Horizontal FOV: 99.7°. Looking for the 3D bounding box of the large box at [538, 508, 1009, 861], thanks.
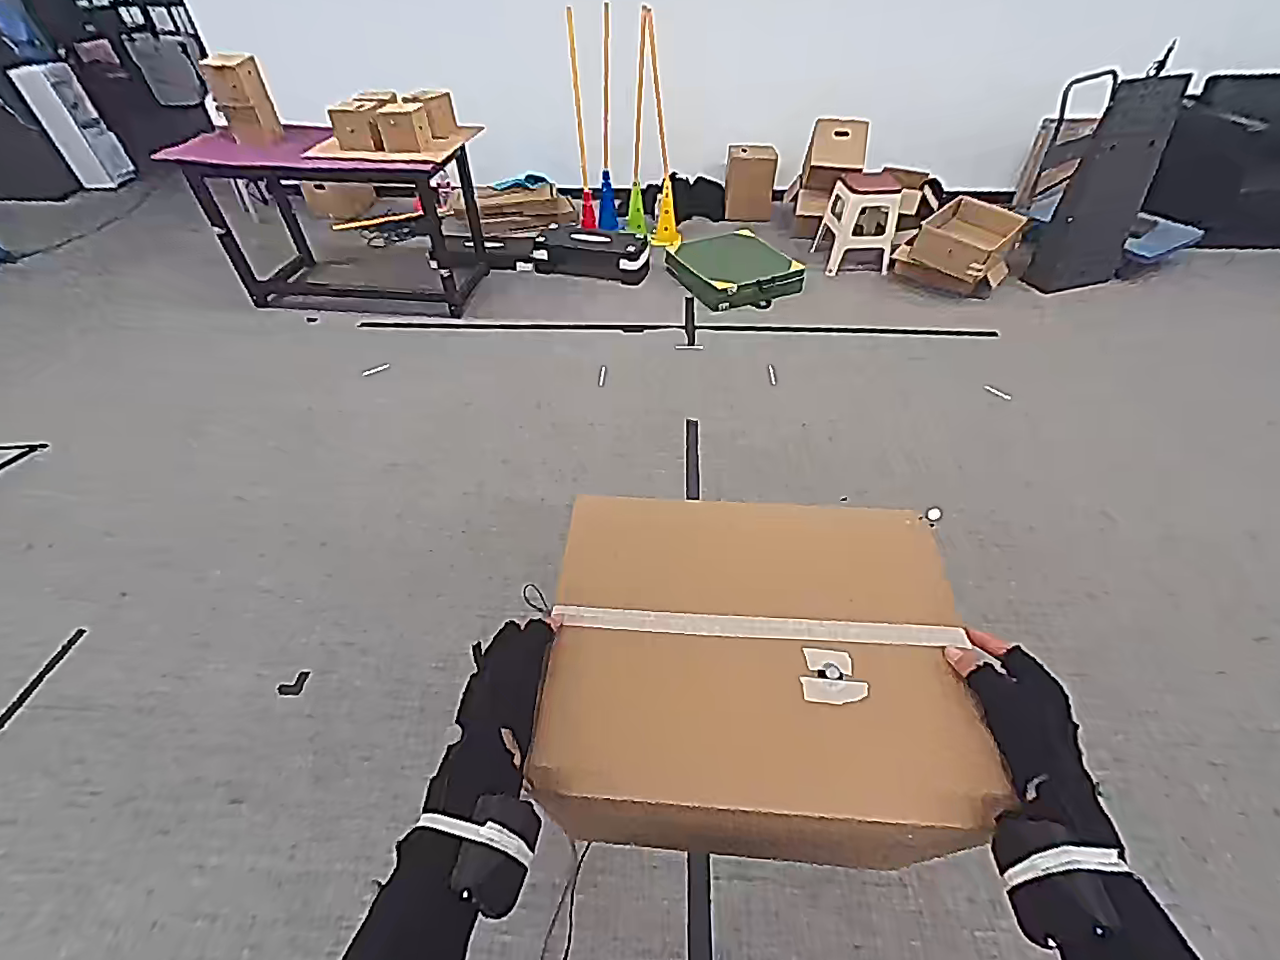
[{"bbox_3d":[0.119,0.252,0.662,0.408,0.320,0.320,3,51,4],"label":"large box"}]
